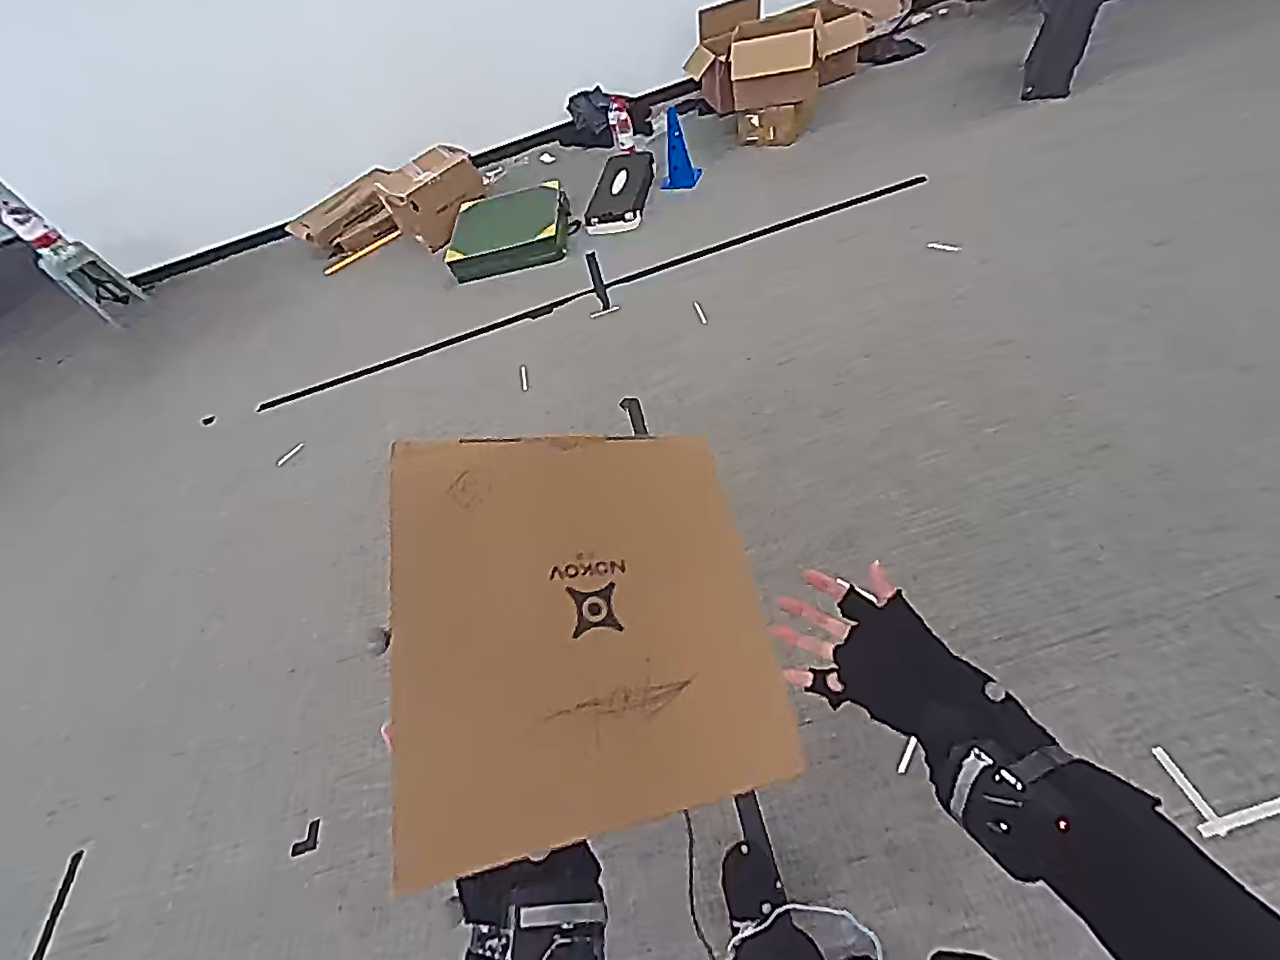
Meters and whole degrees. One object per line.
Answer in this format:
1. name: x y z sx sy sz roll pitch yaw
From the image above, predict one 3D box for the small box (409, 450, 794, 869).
1. small box: -0.046 0.099 0.320 0.168 0.176 0.179 -2 62 -21
